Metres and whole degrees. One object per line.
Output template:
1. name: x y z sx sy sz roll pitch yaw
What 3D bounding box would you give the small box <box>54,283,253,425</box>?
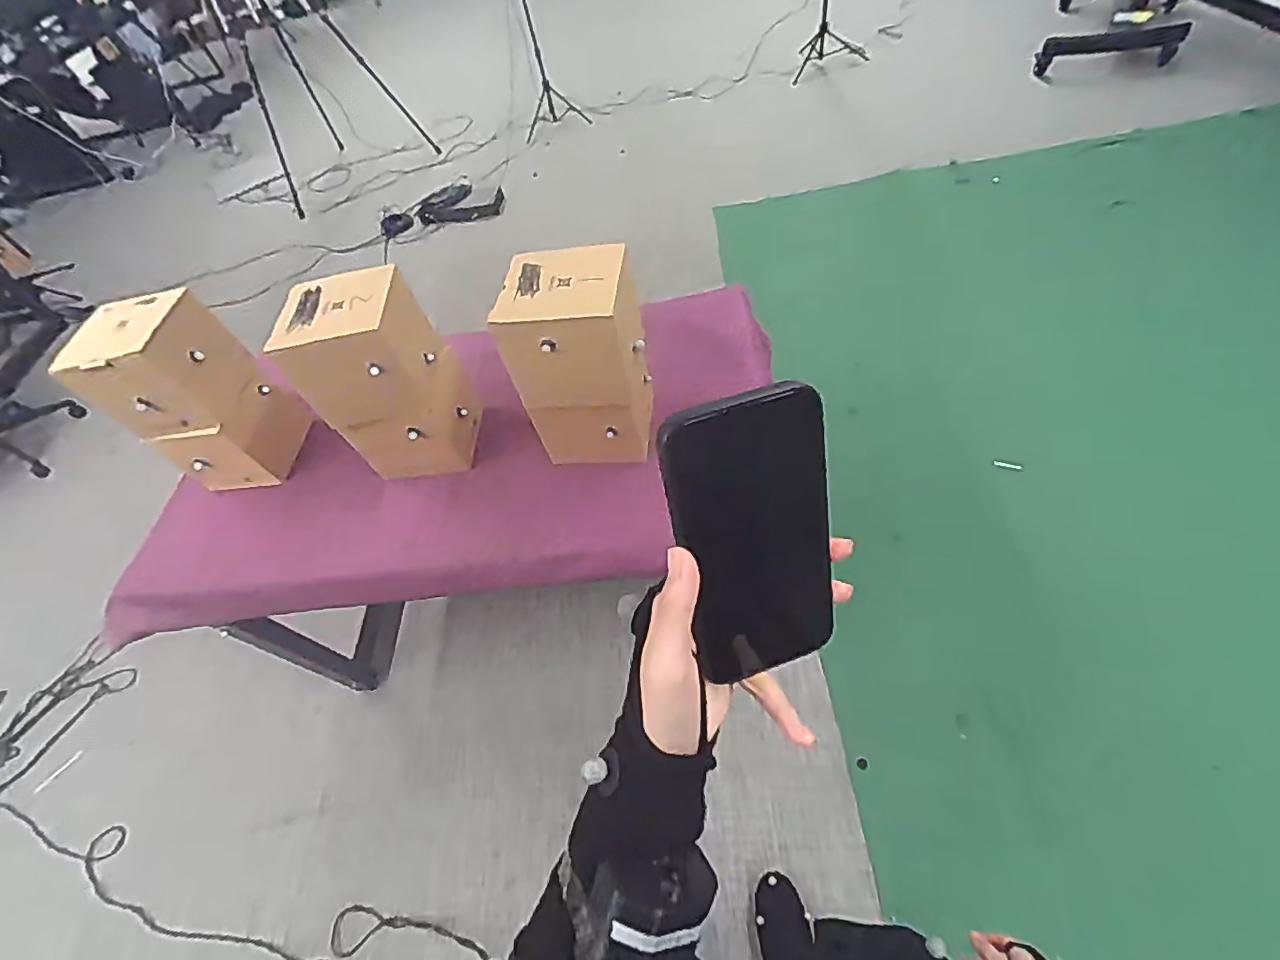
1. small box: -0.833 -0.212 0.951 0.168 0.176 0.179 -8 55 5

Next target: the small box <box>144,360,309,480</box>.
1. small box: -0.806 -0.111 1.079 0.168 0.176 0.179 -5 54 8

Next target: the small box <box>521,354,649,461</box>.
1. small box: -0.085 -0.146 0.958 0.179 0.176 0.168 0 55 12

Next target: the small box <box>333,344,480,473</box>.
1. small box: -0.421 -0.128 1.012 0.179 0.176 0.168 -5 54 8

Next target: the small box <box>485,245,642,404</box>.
1. small box: -0.103 -0.228 0.817 0.179 0.176 0.168 0 55 11
